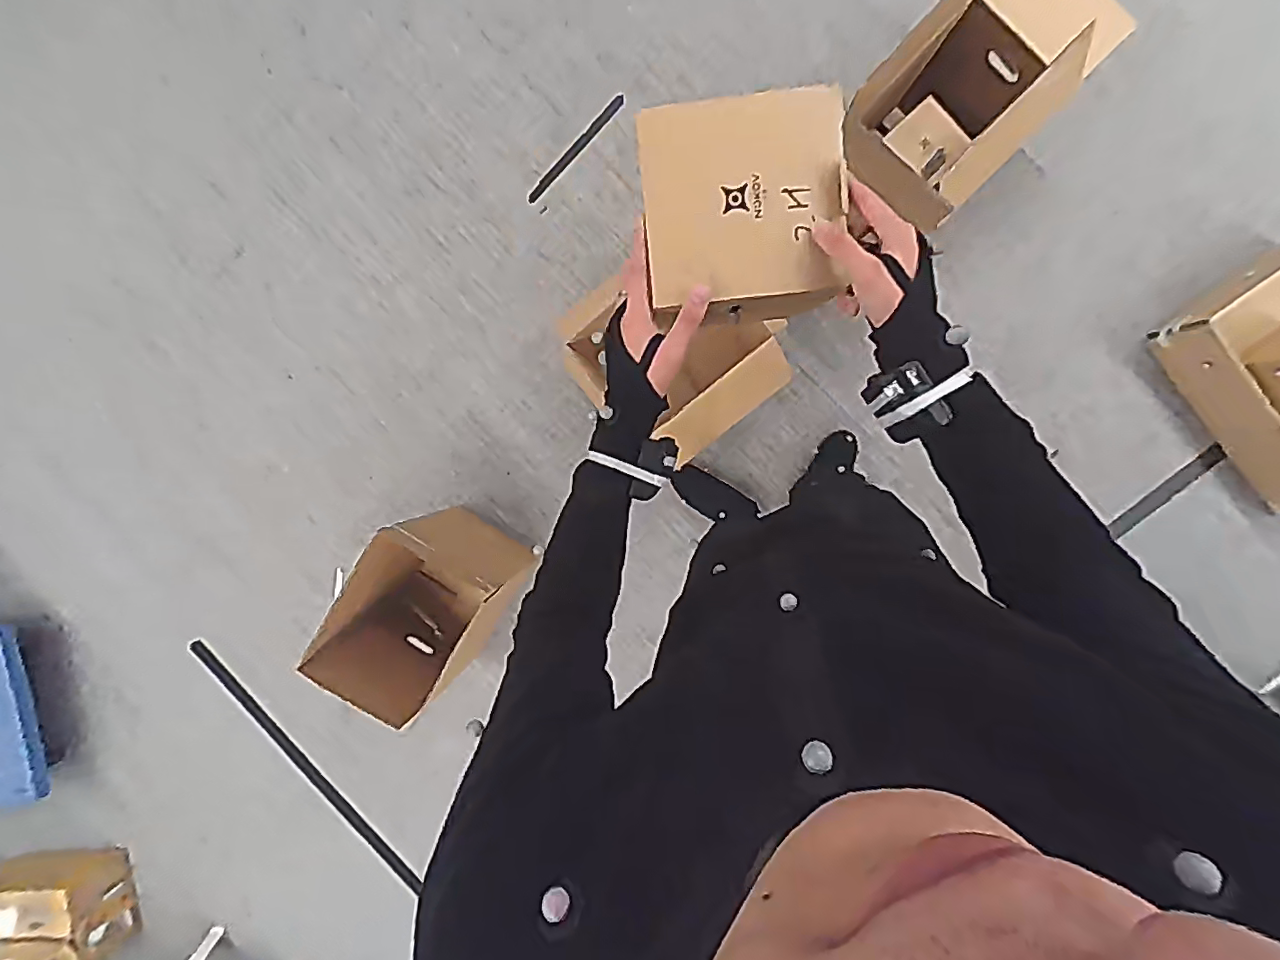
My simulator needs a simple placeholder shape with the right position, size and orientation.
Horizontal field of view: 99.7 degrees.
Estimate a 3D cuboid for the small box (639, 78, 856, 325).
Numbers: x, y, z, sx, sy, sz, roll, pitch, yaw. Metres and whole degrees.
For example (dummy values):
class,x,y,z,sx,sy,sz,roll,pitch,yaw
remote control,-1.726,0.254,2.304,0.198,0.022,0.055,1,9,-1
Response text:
class,x,y,z,sx,sy,sz,roll,pitch,yaw
small box,0.097,-0.254,0.536,0.179,0.176,0.168,-5,99,3
